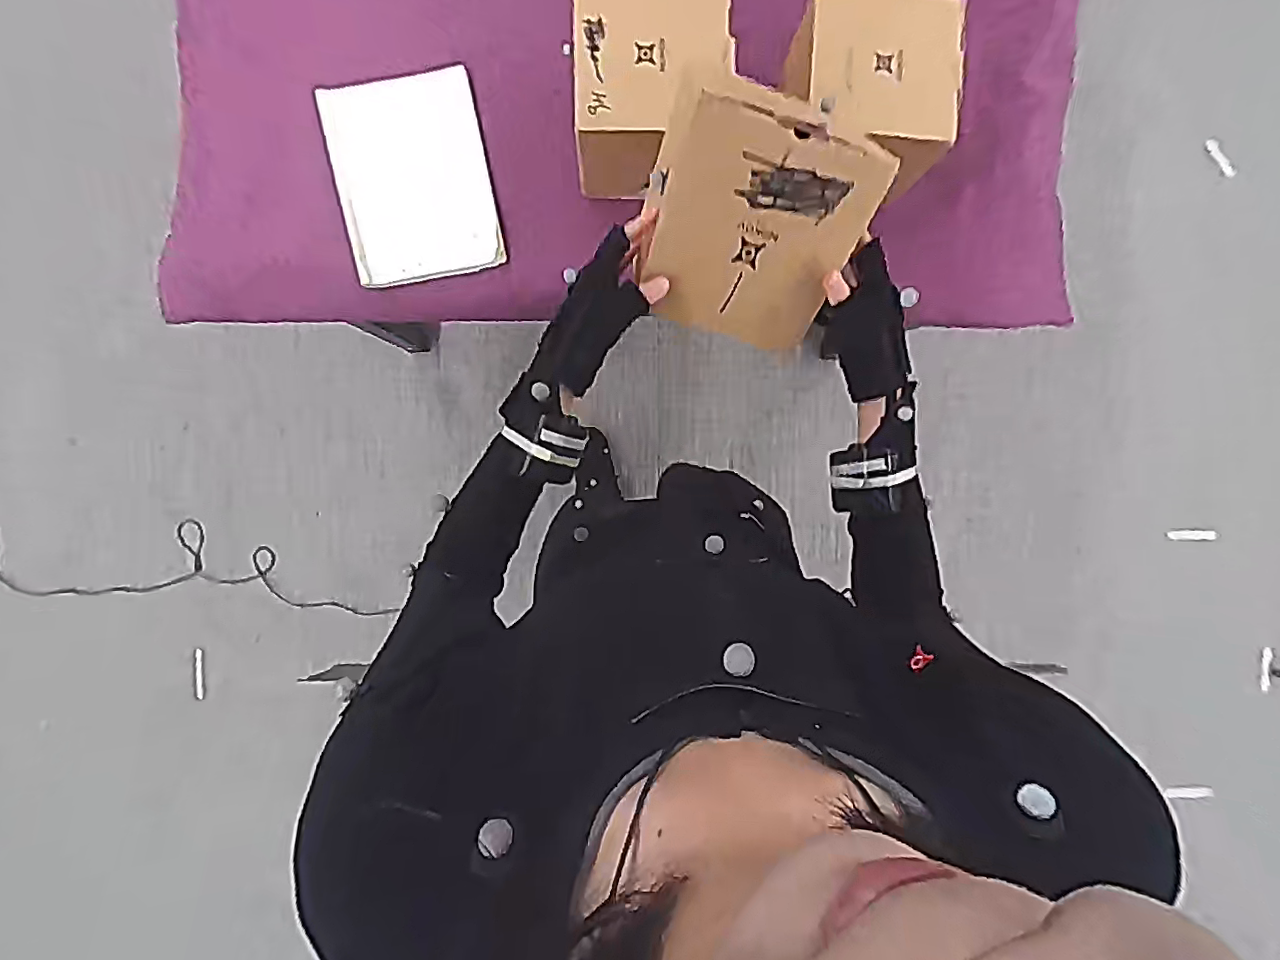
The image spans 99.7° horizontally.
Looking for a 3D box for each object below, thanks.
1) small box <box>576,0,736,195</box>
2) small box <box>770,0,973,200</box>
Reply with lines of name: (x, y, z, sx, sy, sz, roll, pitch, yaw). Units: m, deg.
small box: (0.012, -0.473, 0.667, 0.179, 0.176, 0.168, -1, 93, -4)
small box: (0.277, -0.476, 0.681, 0.179, 0.176, 0.168, 3, 91, -2)
